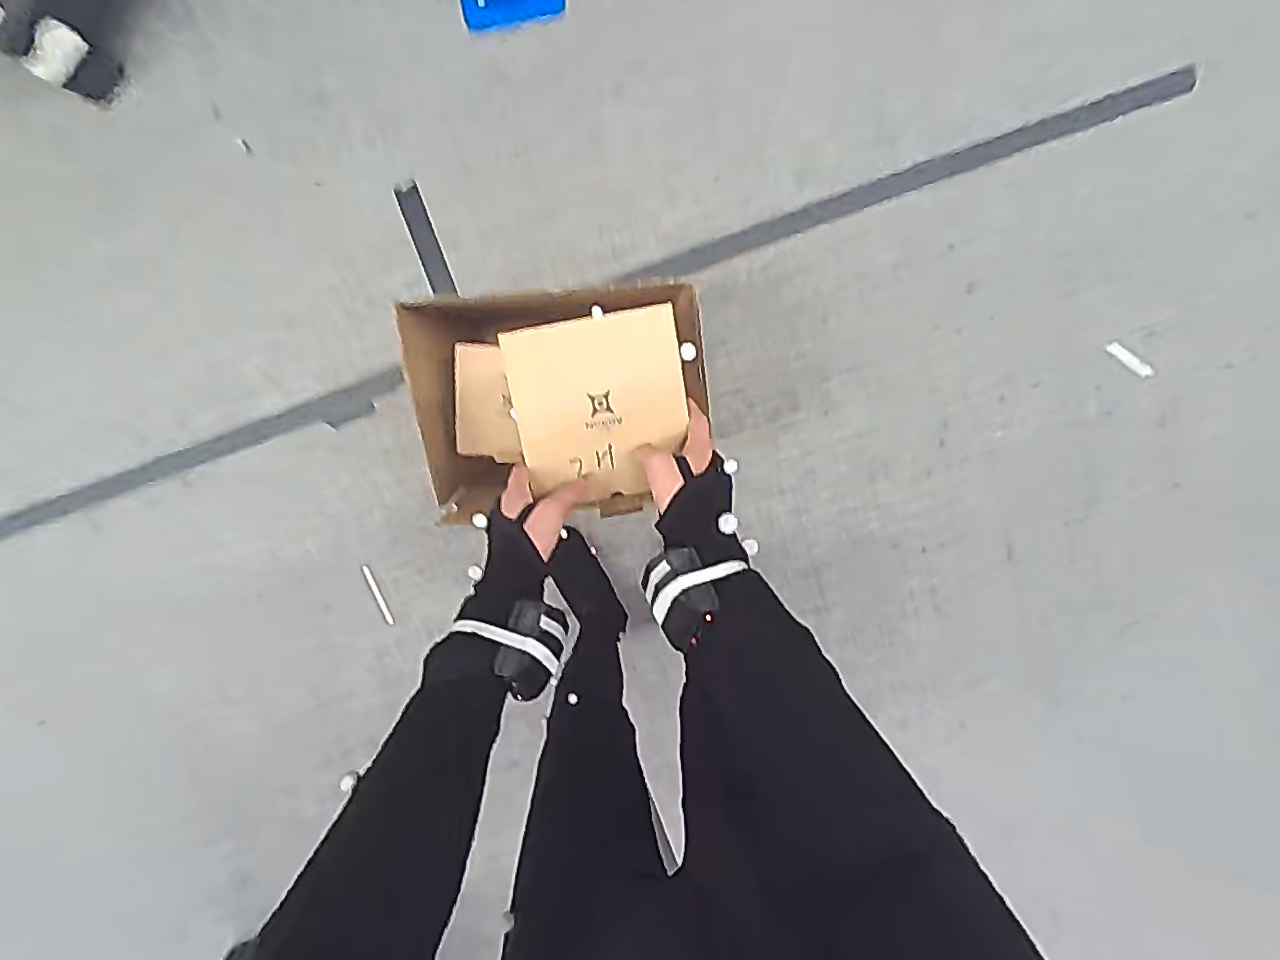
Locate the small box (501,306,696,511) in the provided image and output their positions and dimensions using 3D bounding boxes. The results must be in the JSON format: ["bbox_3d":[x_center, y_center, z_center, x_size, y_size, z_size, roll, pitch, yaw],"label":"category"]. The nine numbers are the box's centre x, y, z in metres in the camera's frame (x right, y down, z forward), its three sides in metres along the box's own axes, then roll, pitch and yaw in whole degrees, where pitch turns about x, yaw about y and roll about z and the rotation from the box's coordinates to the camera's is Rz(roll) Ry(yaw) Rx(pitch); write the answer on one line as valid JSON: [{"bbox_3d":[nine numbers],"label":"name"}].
[{"bbox_3d":[-0.035,-0.080,0.590,0.168,0.176,0.179,-9,103,4],"label":"small box"}]
